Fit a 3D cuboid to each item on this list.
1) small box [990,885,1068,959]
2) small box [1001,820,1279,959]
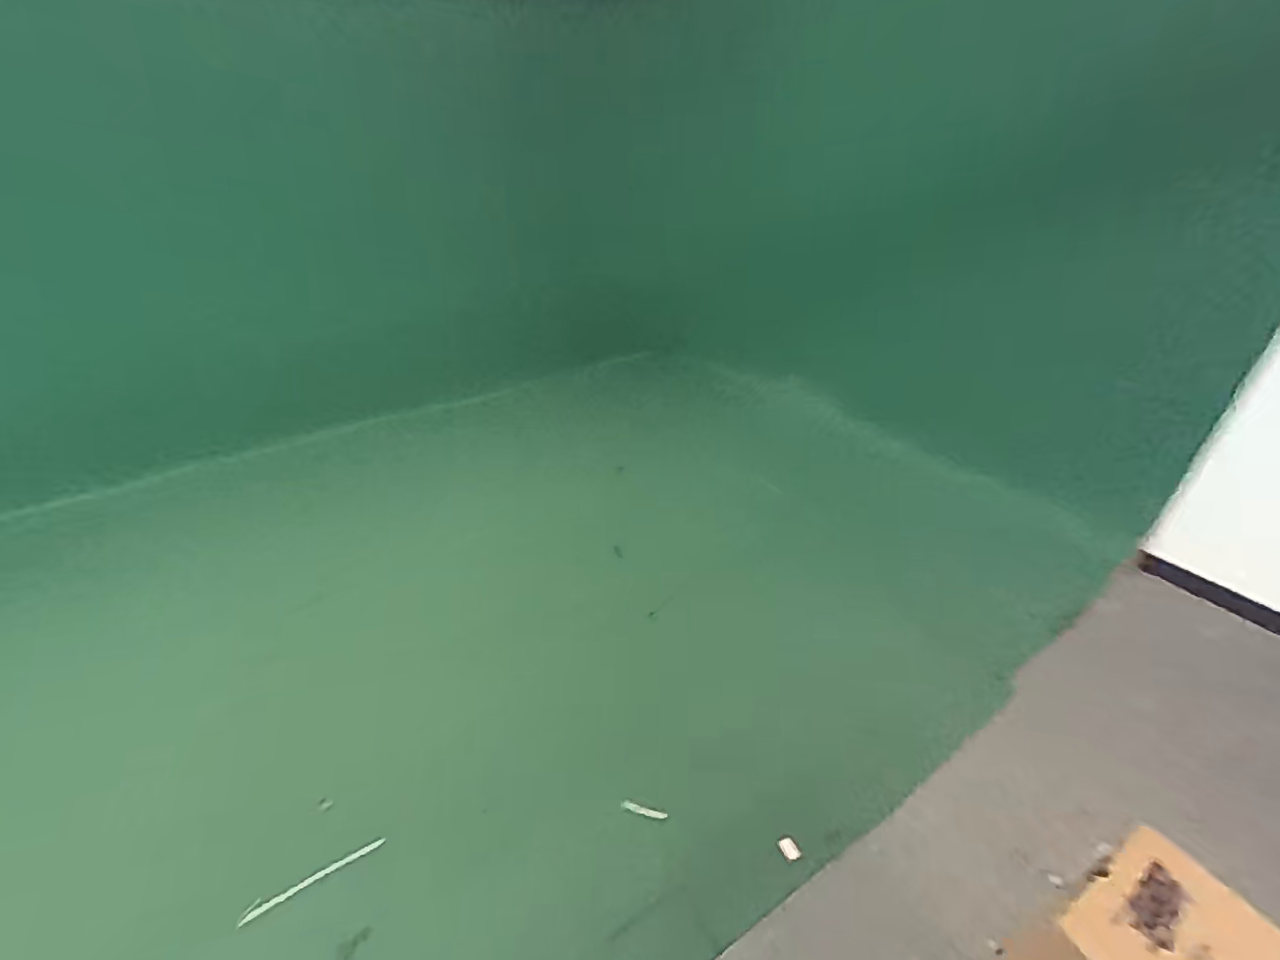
[{"bbox_3d":[0.484,0.608,0.593,0.168,0.176,0.179,-19,39,-22],"label":"small box"},{"bbox_3d":[0.484,0.472,0.499,0.168,0.176,0.179,-19,41,-23],"label":"small box"}]
